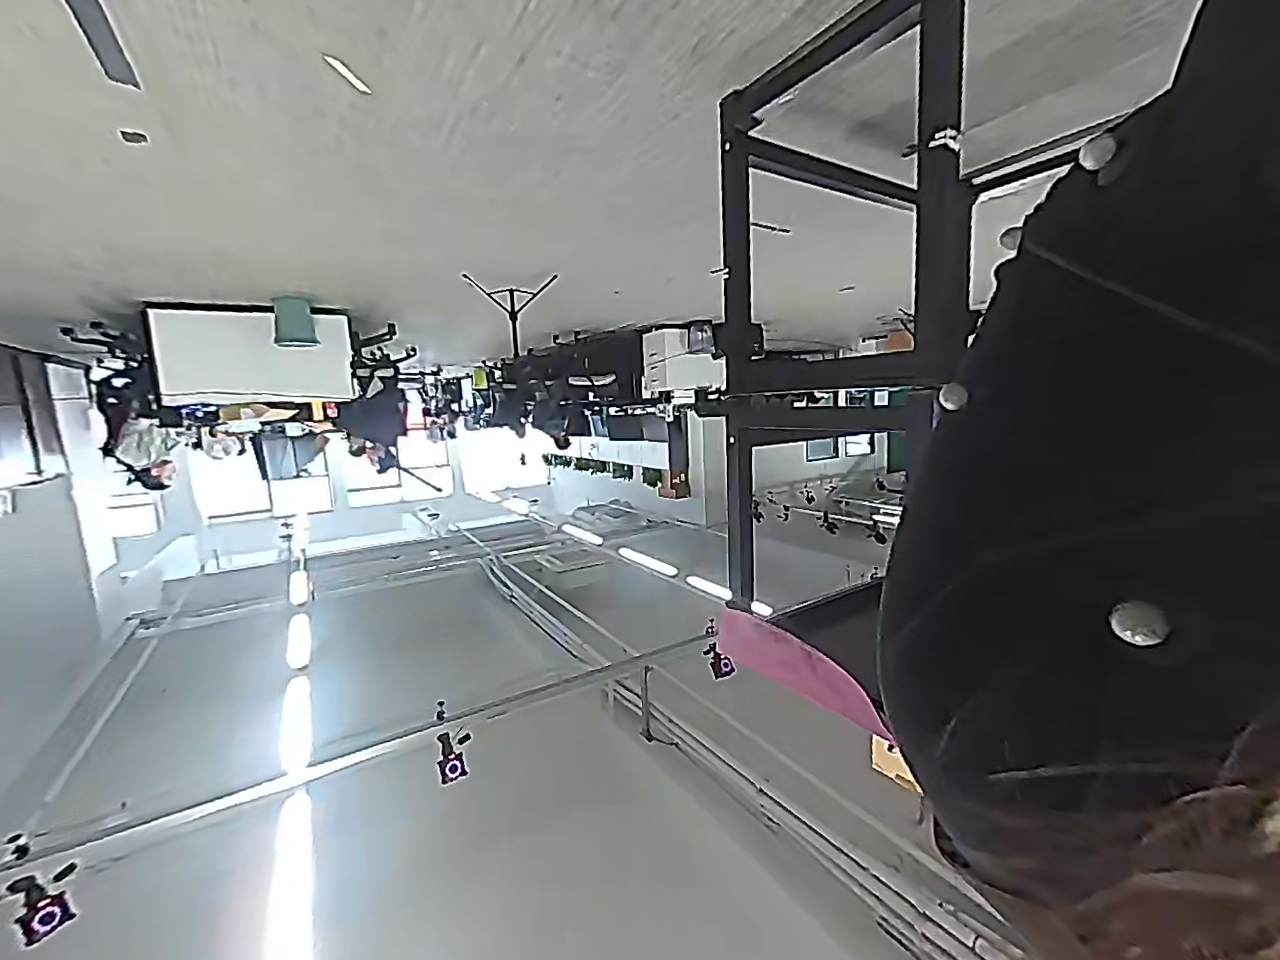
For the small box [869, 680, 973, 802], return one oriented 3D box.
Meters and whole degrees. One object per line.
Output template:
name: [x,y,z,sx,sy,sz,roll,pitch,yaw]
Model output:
small box: [0.654,0.596,1.263,0.179,0.176,0.168,-10,-168,-37]
